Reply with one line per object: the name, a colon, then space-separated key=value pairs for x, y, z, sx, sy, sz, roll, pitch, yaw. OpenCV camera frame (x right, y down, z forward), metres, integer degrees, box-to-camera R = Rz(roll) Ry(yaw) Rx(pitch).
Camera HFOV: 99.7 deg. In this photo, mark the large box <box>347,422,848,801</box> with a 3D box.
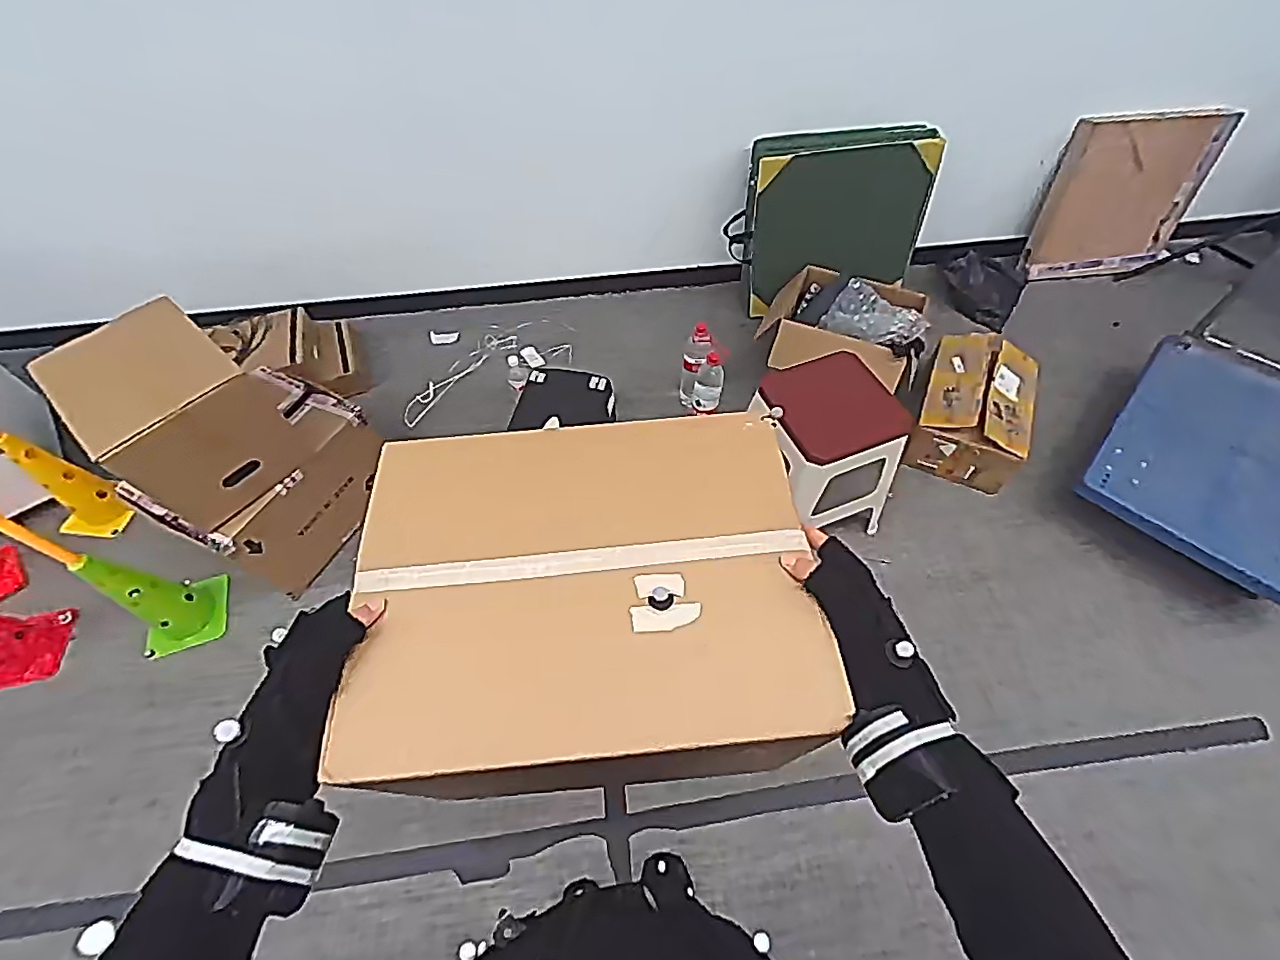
large box: x=-0.042 y=0.164 z=0.626 sx=0.408 sy=0.320 sz=0.320 roll=-5 pitch=57 yaw=-2
